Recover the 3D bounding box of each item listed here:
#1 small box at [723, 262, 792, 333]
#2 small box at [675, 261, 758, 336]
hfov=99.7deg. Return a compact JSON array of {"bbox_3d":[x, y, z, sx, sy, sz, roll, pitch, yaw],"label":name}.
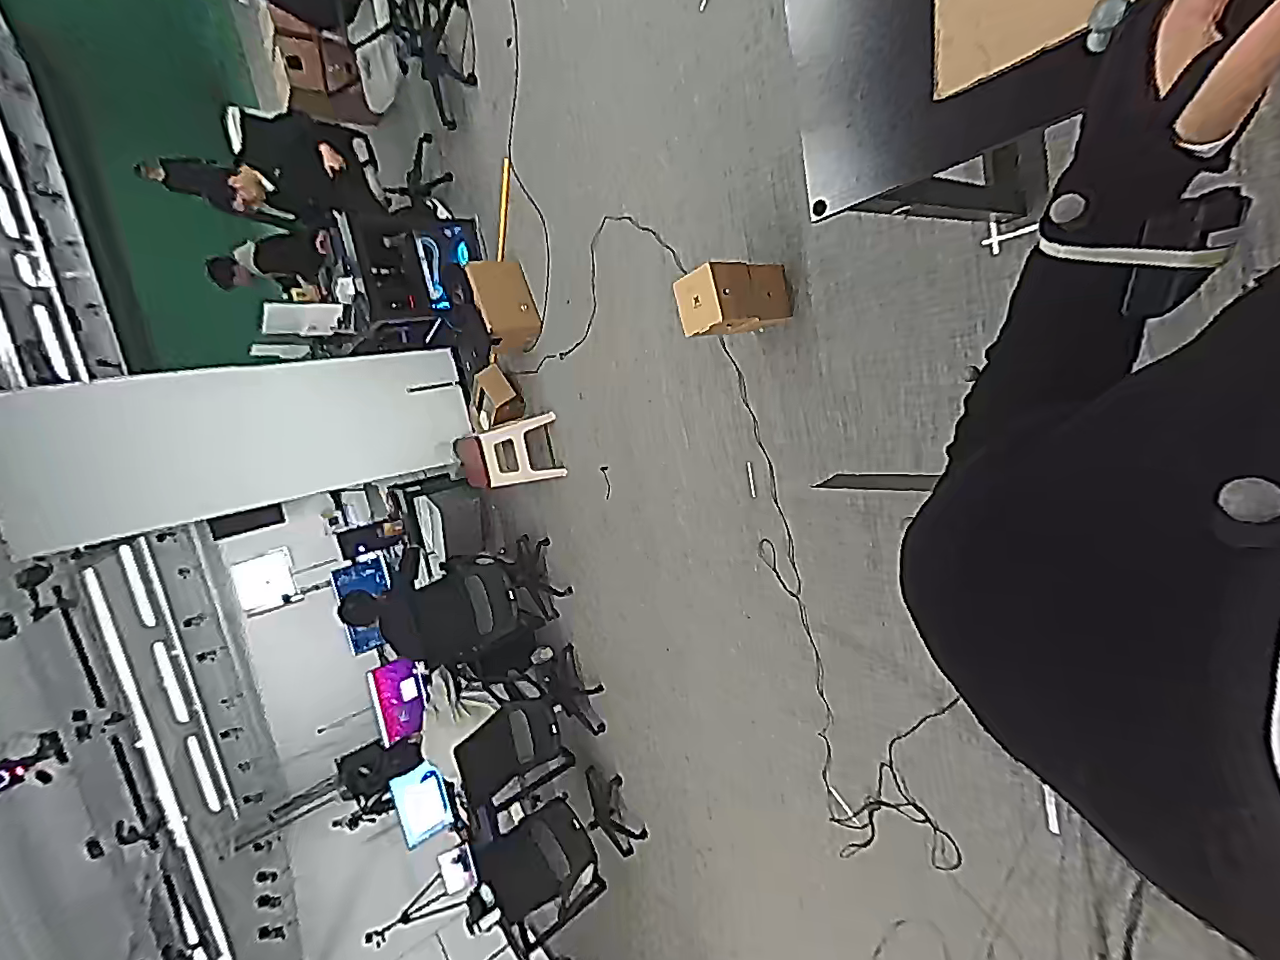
[{"bbox_3d":[0.365,-0.589,1.751,0.168,0.176,0.179,-5,101,54],"label":"small box"},{"bbox_3d":[0.237,-0.556,1.656,0.168,0.176,0.179,-9,96,54],"label":"small box"}]
